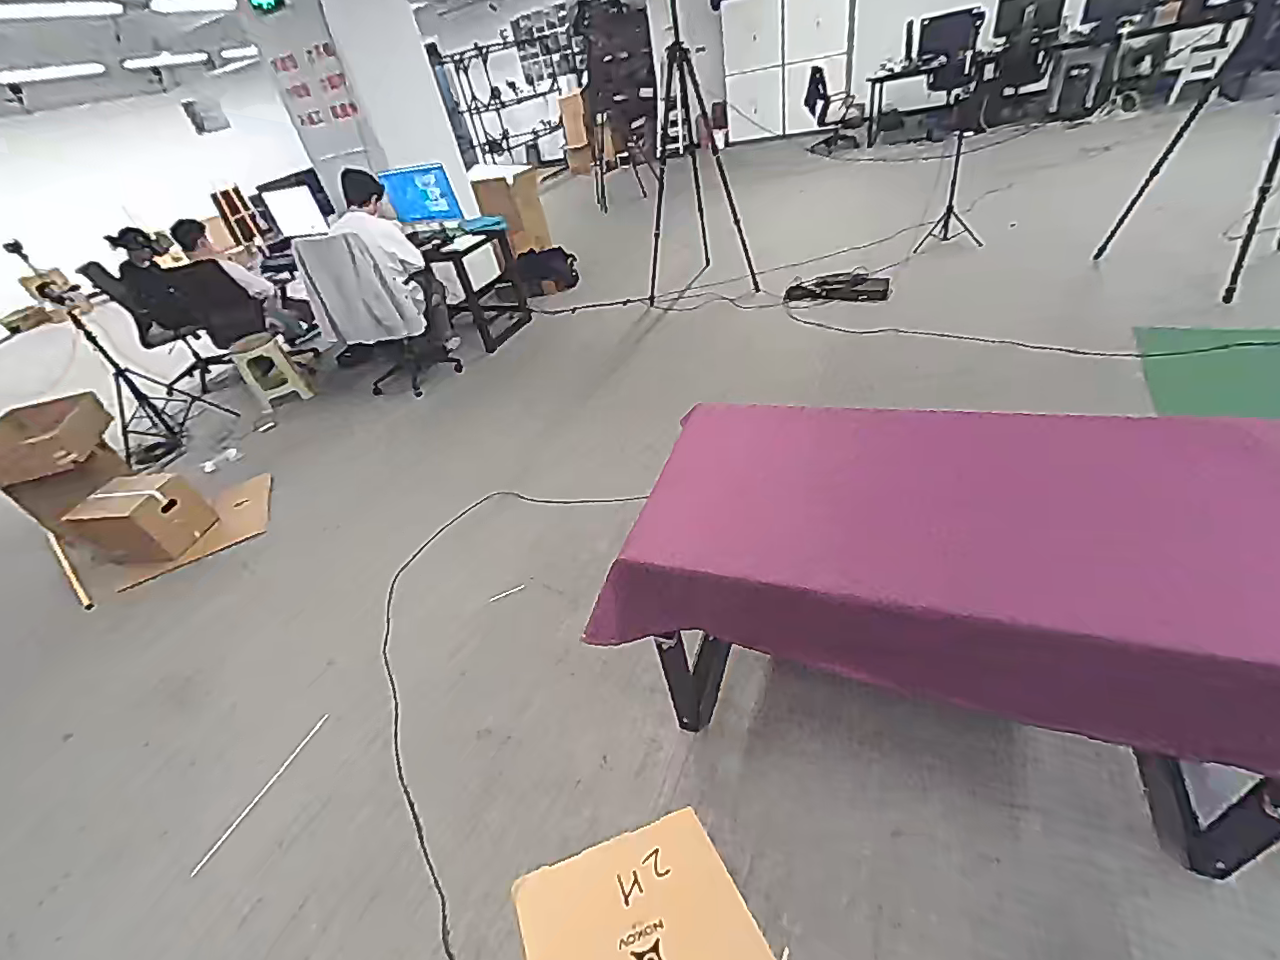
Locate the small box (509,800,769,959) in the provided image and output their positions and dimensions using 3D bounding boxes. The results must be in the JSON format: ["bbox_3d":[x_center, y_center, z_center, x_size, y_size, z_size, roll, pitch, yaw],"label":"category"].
[{"bbox_3d":[0.000,0.412,0.431,0.168,0.176,0.179,-9,26,-22],"label":"small box"}]
